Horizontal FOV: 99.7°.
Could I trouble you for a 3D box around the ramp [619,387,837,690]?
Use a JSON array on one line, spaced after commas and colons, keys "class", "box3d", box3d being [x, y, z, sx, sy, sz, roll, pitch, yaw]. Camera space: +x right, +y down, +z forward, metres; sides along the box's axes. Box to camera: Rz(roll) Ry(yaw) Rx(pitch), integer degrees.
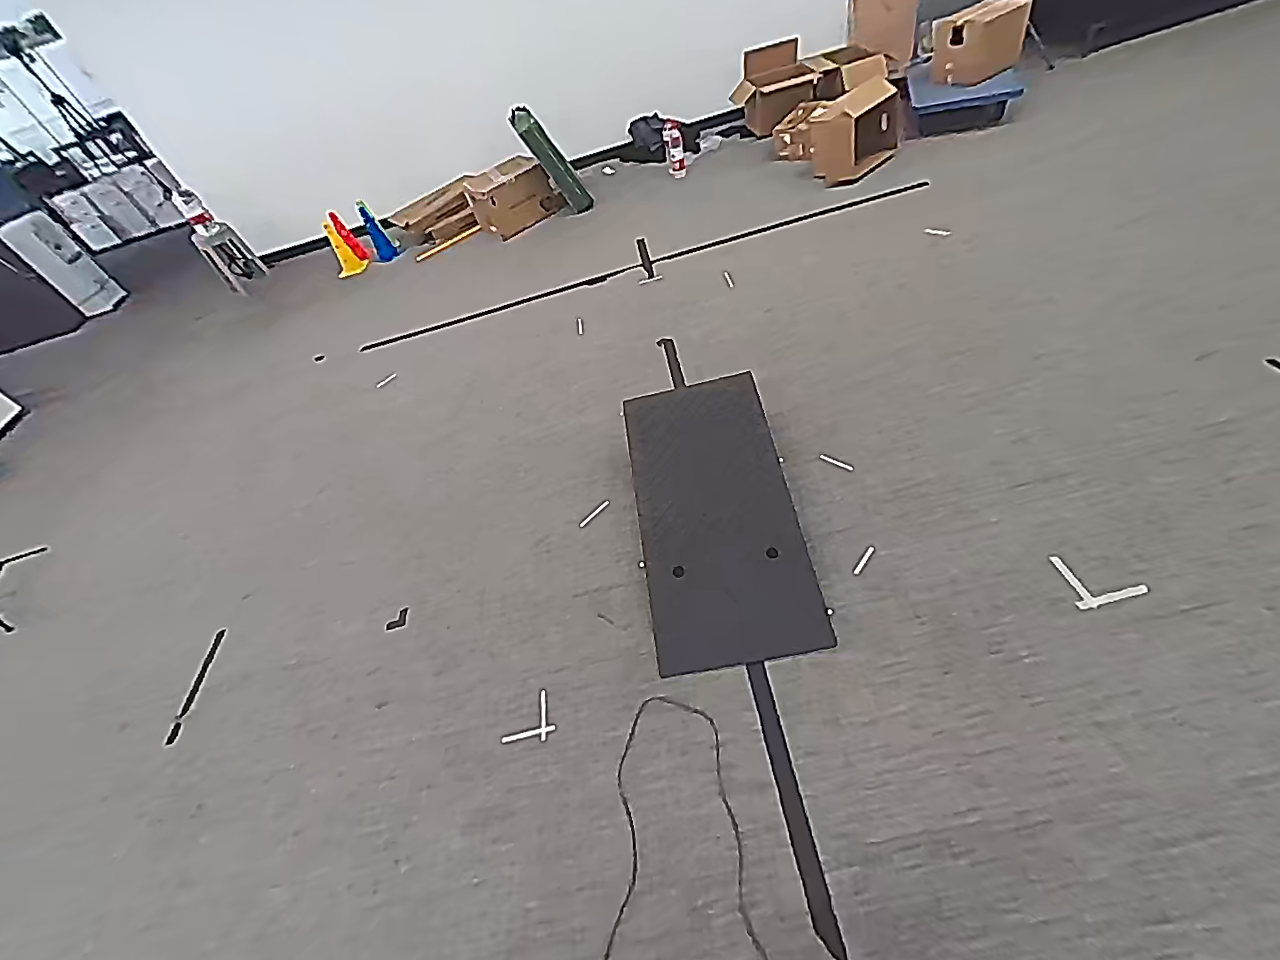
[{"class": "ramp", "box3d": [0.231, 0.122, 1.755, 0.509, 0.206, 0.991, -15, 46, 4]}]
